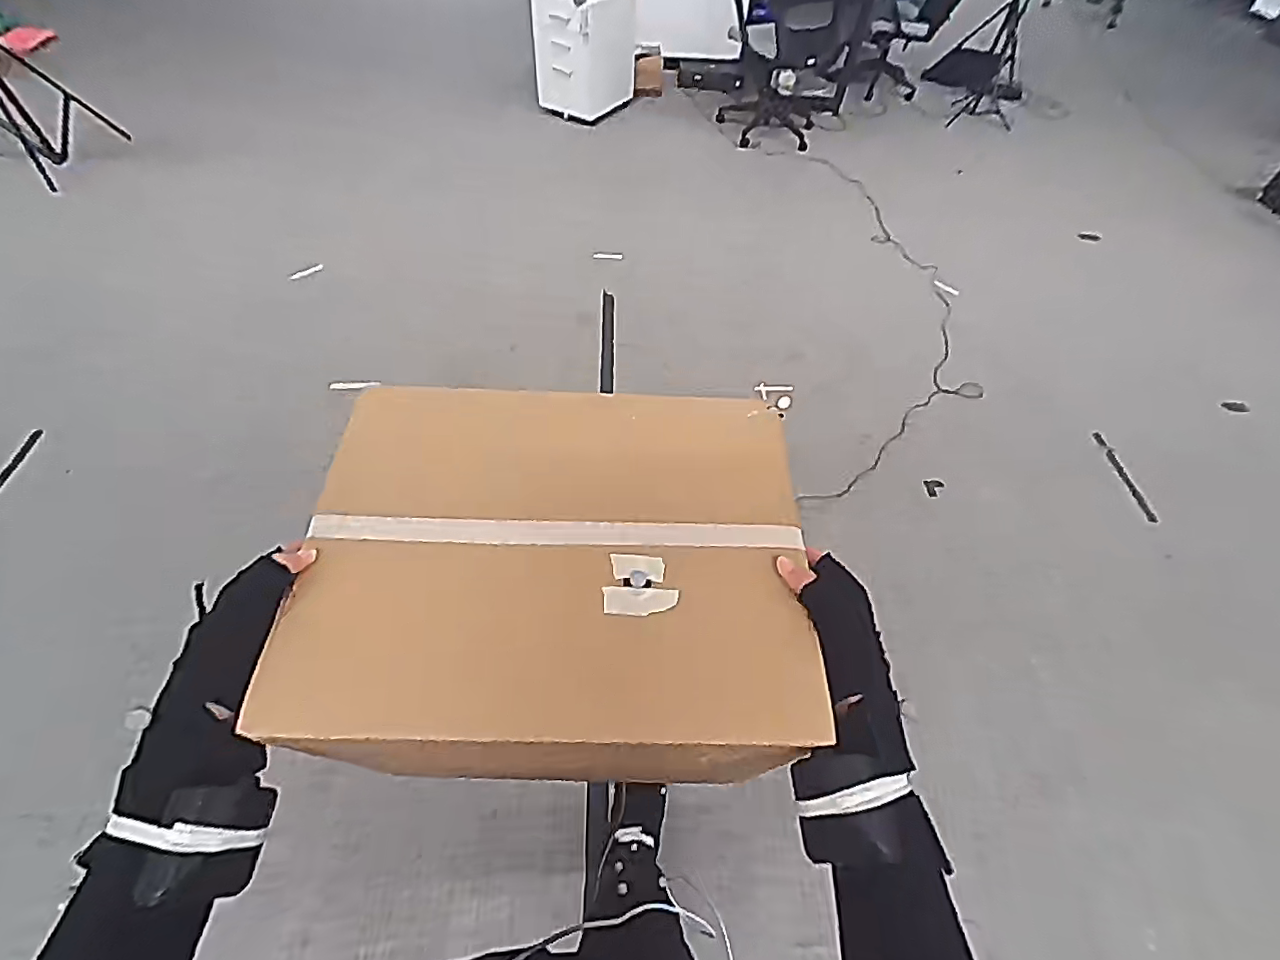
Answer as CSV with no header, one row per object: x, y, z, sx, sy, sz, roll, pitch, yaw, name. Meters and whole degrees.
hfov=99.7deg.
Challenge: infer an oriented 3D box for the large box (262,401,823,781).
-0.074,0.135,0.584,0.408,0.320,0.320,2,58,-2,large box
